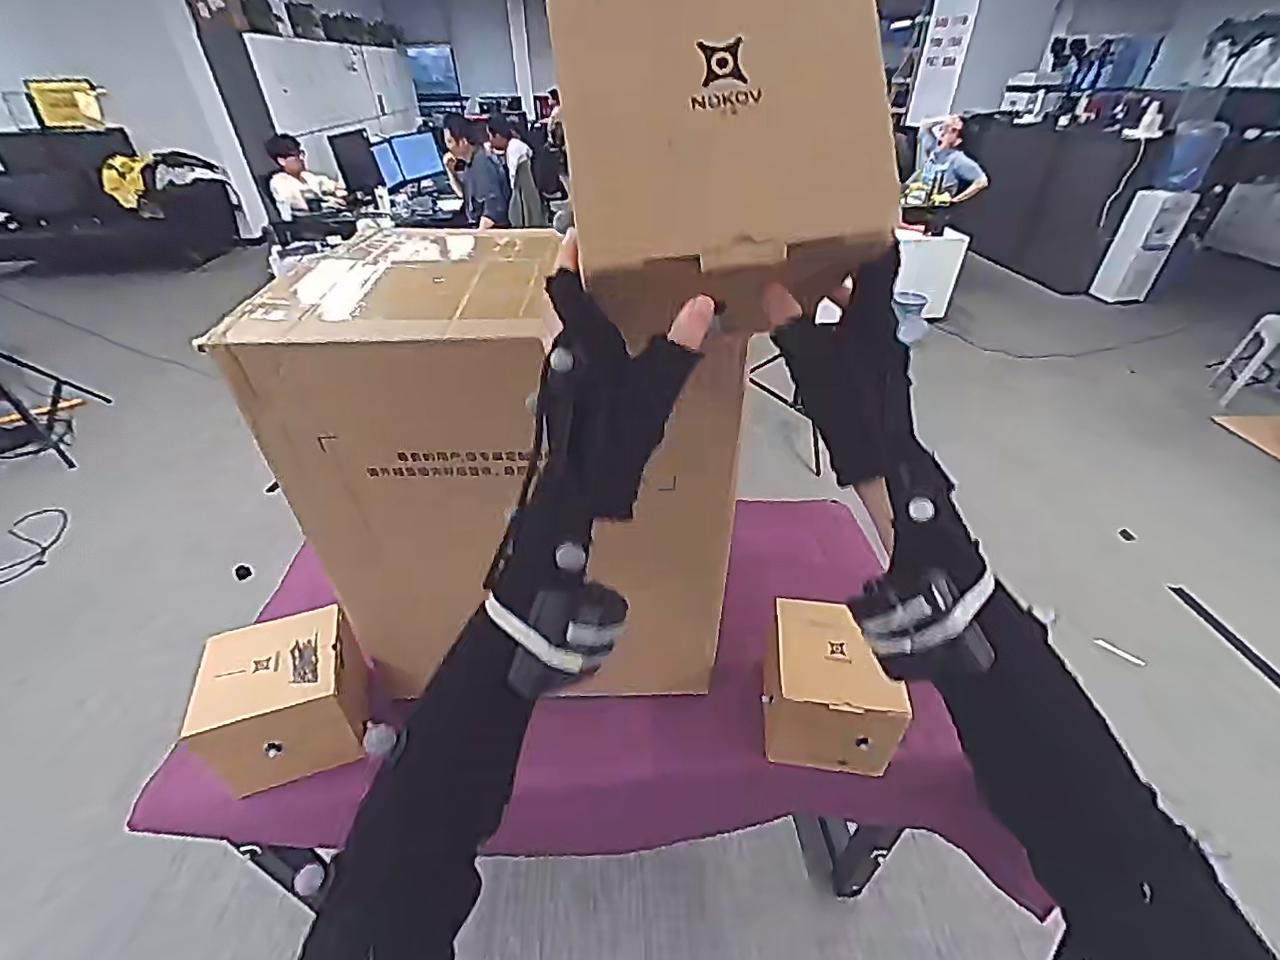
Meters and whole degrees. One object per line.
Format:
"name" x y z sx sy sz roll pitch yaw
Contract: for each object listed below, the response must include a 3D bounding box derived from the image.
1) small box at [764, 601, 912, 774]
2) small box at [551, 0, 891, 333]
"small box" 0.281 0.309 0.809 0.168 0.176 0.179 5 35 6
"small box" 0.040 -0.206 0.362 0.168 0.179 0.176 -8 0 -2
